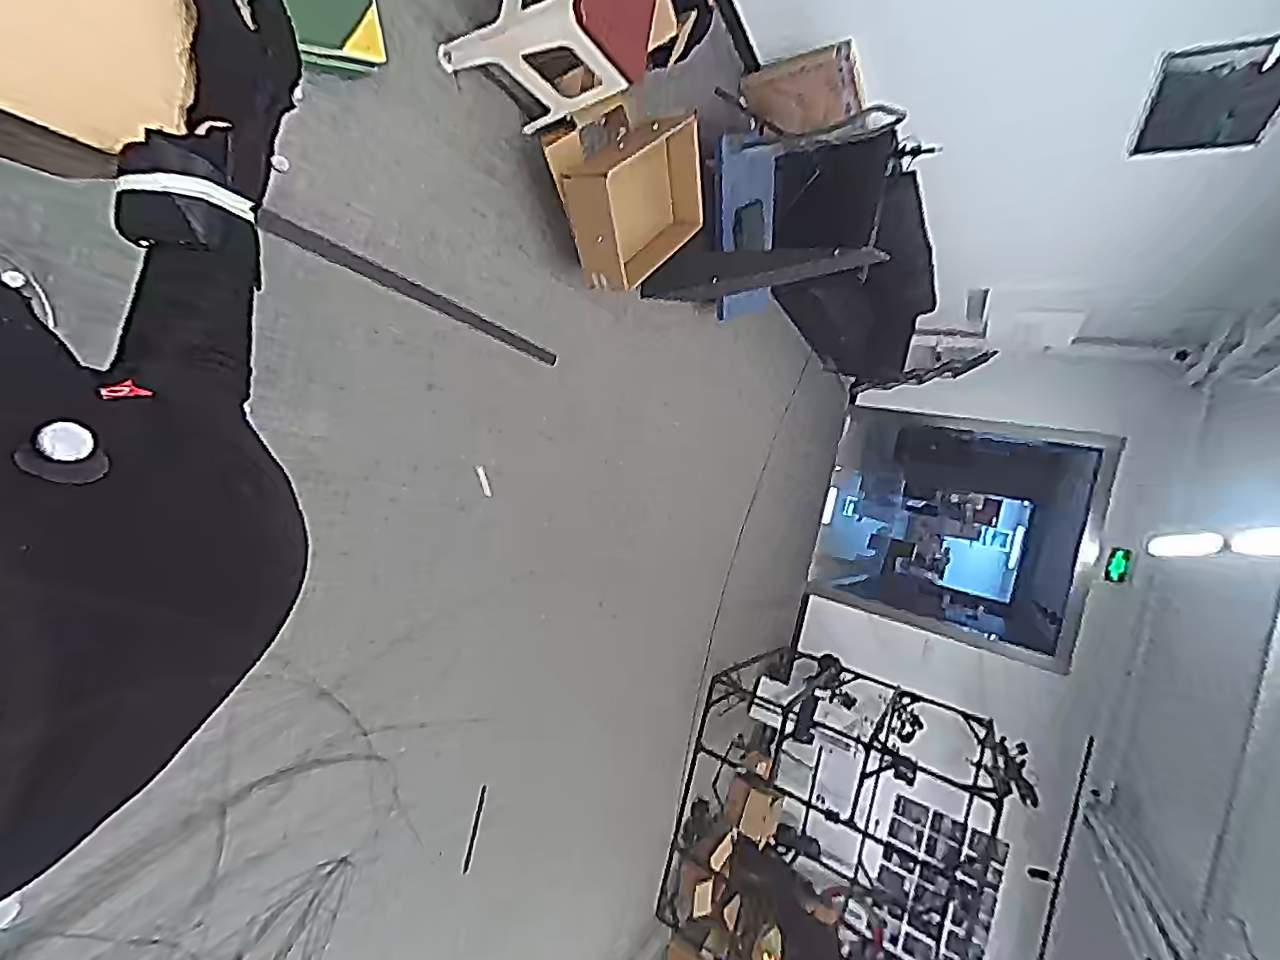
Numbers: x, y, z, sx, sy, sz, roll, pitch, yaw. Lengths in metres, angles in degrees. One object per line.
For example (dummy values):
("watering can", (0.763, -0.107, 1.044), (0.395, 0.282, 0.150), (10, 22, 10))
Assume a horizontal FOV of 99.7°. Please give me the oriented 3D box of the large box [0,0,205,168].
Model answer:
("large box", (-0.540, -0.429, 0.299), (0.408, 0.320, 0.320), (3, 104, -60))
